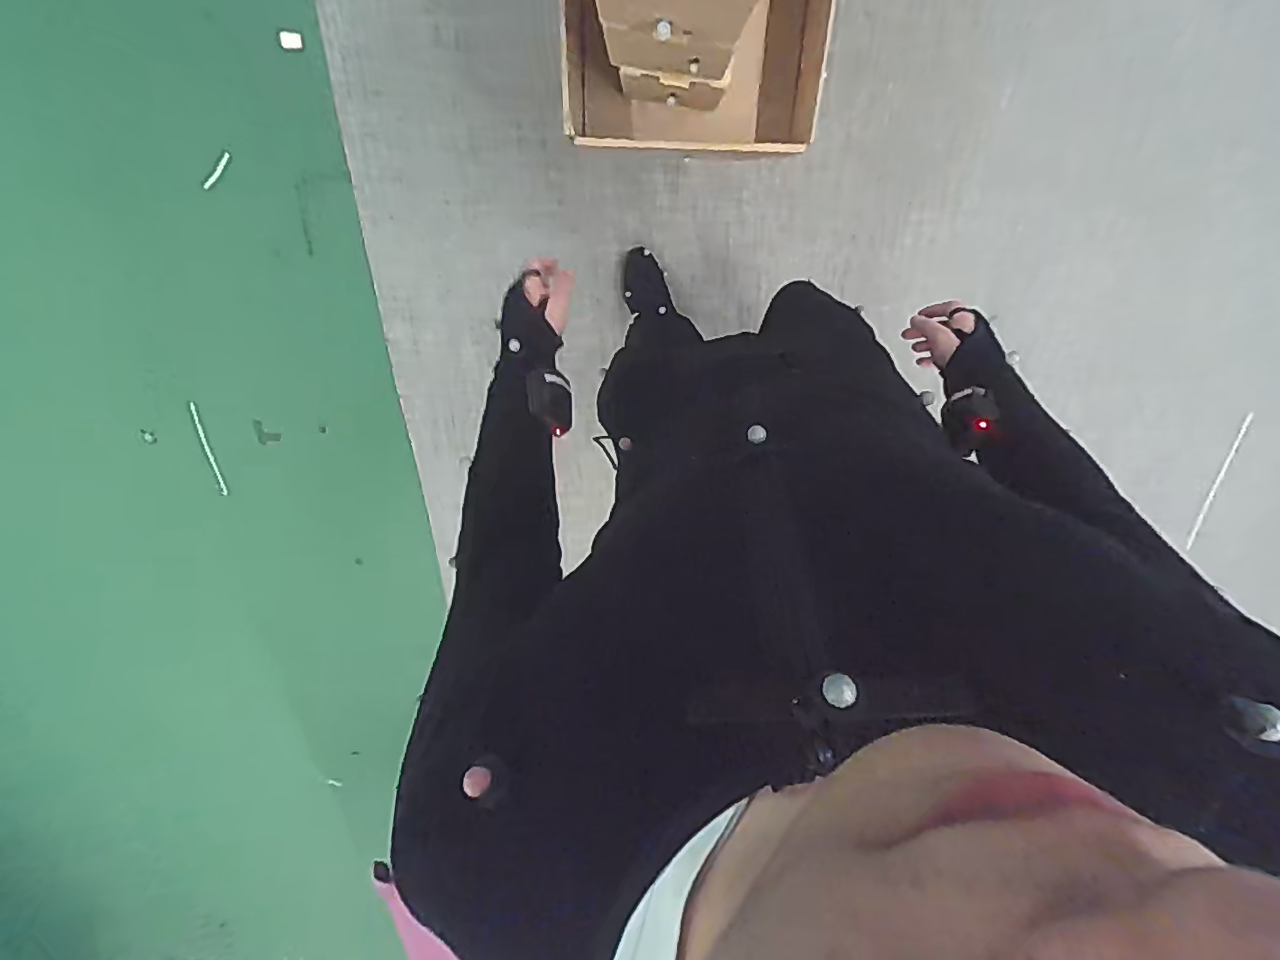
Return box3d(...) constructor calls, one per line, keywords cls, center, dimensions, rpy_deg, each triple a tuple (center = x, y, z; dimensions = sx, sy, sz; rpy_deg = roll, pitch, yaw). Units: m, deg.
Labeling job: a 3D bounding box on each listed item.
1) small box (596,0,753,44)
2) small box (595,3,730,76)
box3d(cls="small box", center=(0.039, -0.572, 0.532), dimensions=(0.168, 0.176, 0.179), rpy_deg=(7, 116, -3))
box3d(cls="small box", center=(0.041, -0.640, 0.680), dimensions=(0.168, 0.176, 0.179), rpy_deg=(7, 114, -3))
